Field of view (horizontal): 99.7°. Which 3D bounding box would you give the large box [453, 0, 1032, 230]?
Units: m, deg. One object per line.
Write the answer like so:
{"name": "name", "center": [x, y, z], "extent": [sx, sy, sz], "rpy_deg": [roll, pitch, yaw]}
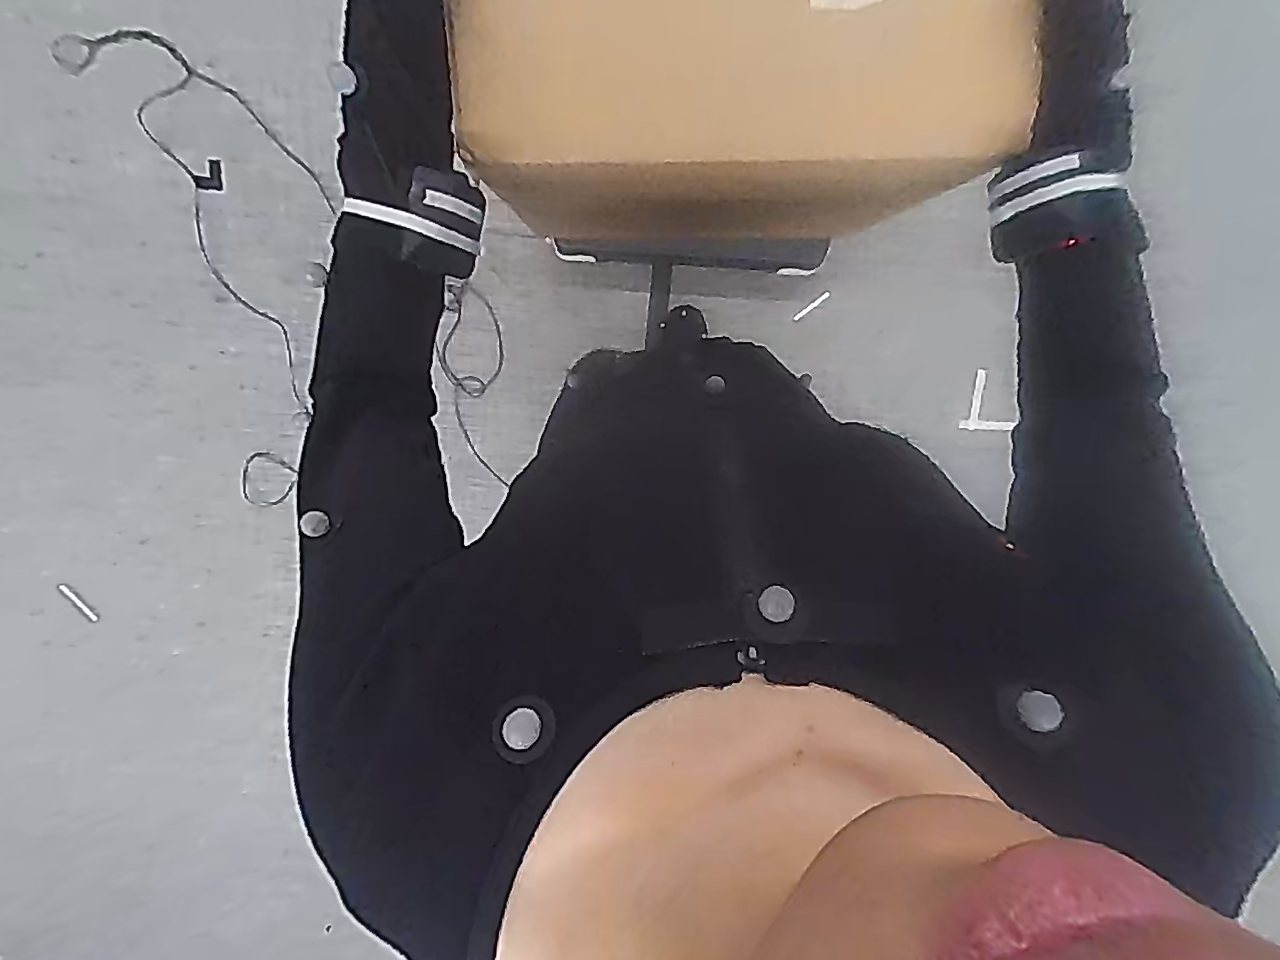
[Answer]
{"name": "large box", "center": [0.065, -0.429, 0.494], "extent": [0.408, 0.320, 0.320], "rpy_deg": [-1, 105, -1]}
